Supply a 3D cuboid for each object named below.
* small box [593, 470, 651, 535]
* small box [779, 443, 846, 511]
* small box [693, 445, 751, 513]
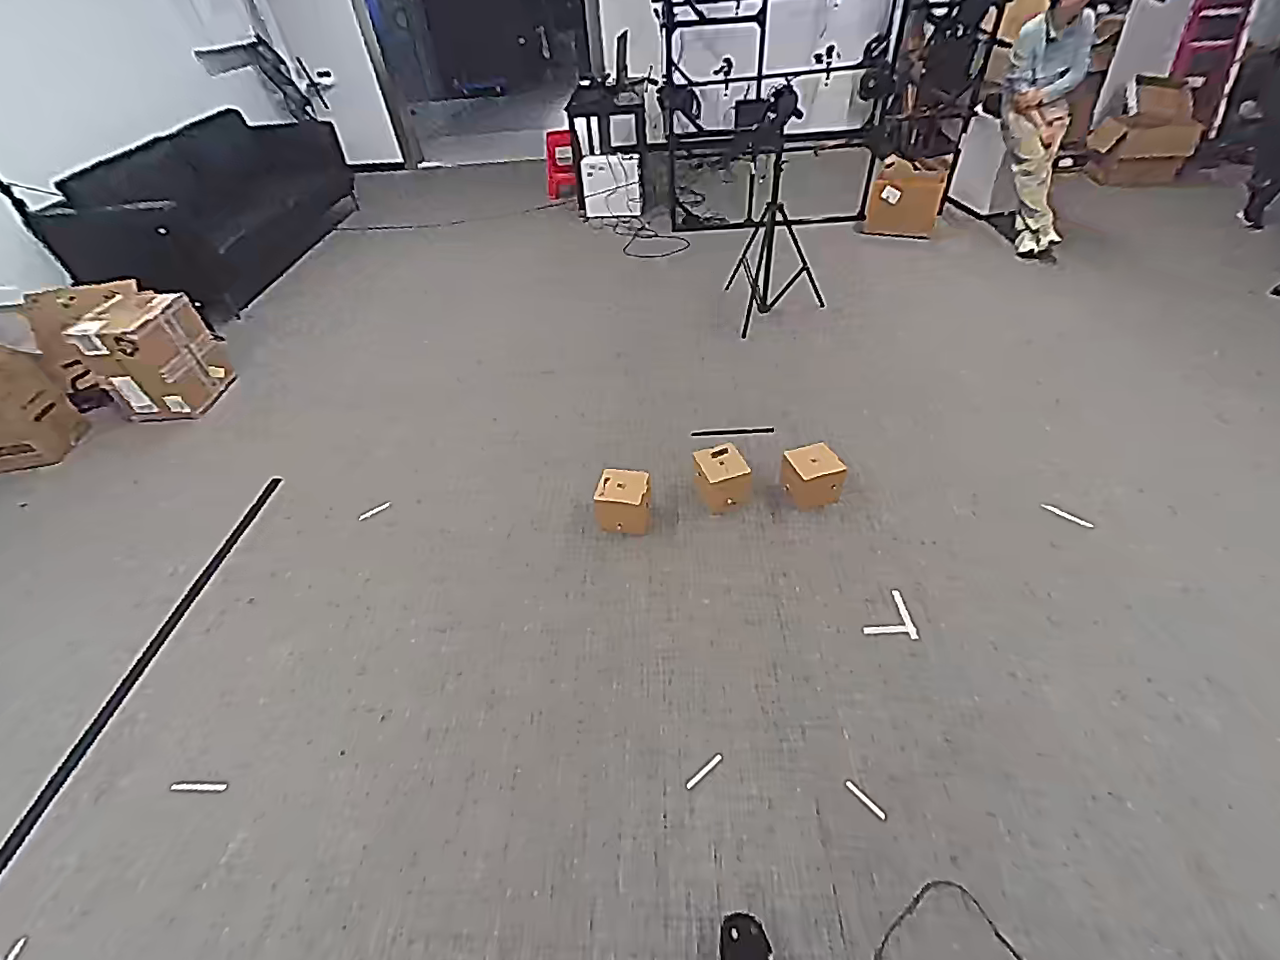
[{"bbox_3d":[-0.060,0.087,2.015,0.179,0.176,0.168,7,45,13],"label":"small box"},{"bbox_3d":[0.646,-0.010,2.044,0.179,0.176,0.168,-15,44,-9],"label":"small box"},{"bbox_3d":[0.307,-0.003,2.069,0.168,0.176,0.179,-16,45,-10],"label":"small box"}]
